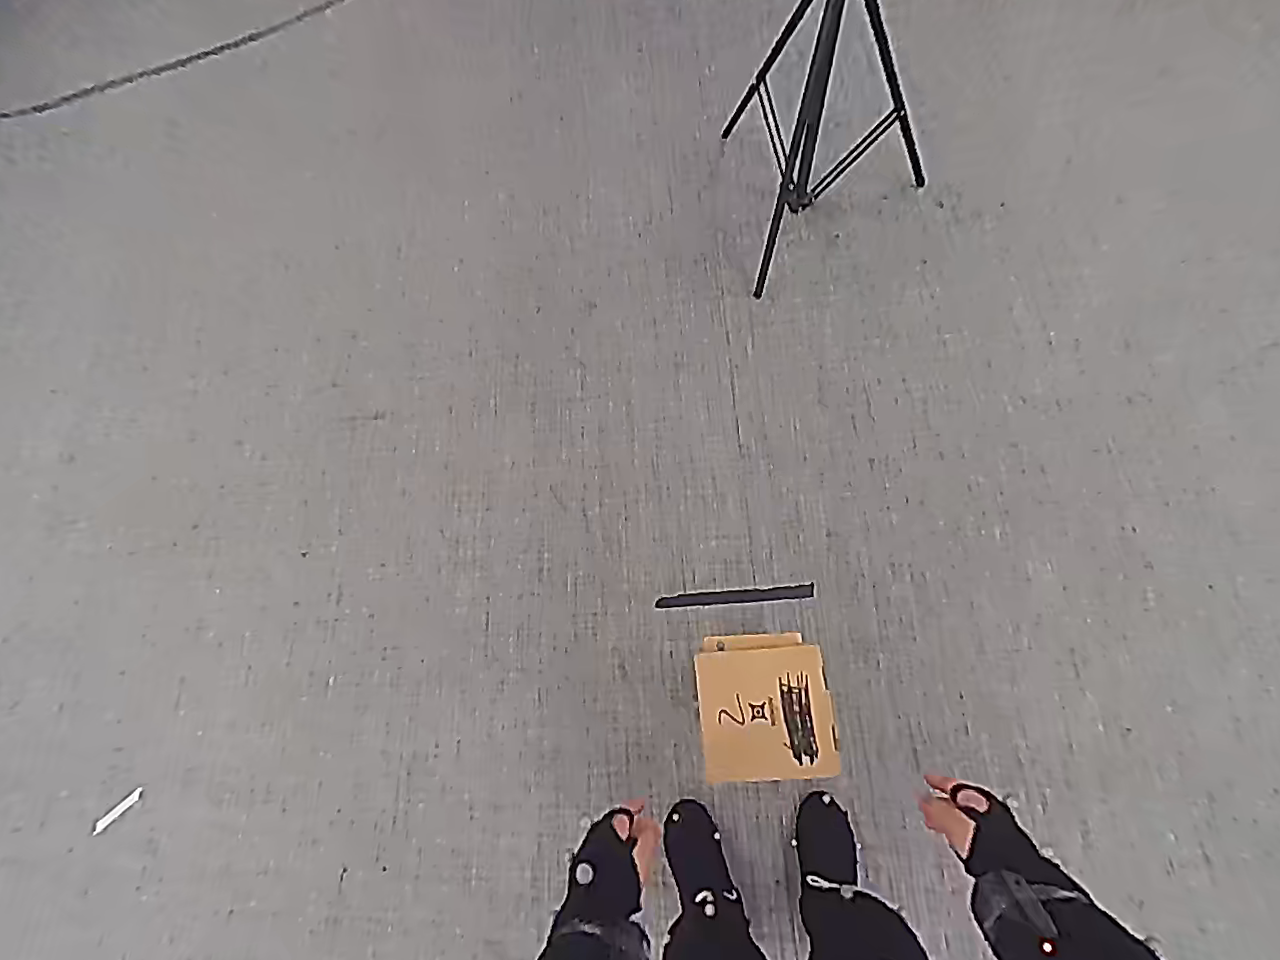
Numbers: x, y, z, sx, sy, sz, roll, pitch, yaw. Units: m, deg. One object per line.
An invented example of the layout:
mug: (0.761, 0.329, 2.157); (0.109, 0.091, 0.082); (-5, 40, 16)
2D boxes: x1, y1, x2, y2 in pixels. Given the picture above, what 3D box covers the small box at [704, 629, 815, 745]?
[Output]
small box: (0.201, 0.361, 0.957); (0.168, 0.176, 0.179); (-5, 72, 6)
